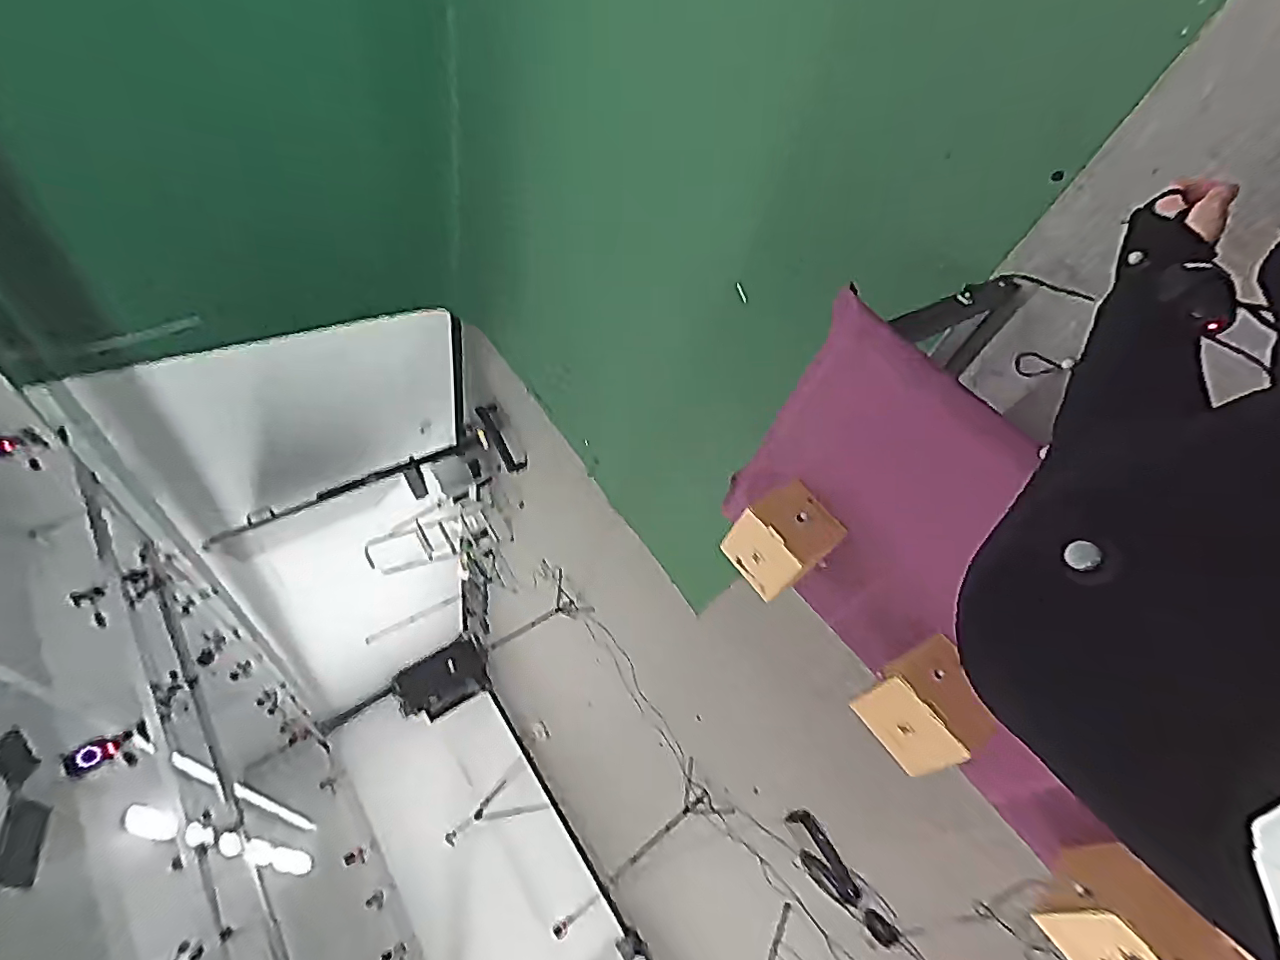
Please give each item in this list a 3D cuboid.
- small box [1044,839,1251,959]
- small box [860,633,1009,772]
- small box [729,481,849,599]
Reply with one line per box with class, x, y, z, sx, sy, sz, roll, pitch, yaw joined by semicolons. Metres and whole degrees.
small box;0.829;0.726;0.886;0.168;0.176;0.179;50;146;25
small box;0.580;0.431;1.060;0.168;0.176;0.179;50;146;24
small box;0.337;0.129;1.213;0.168;0.176;0.179;51;145;22
